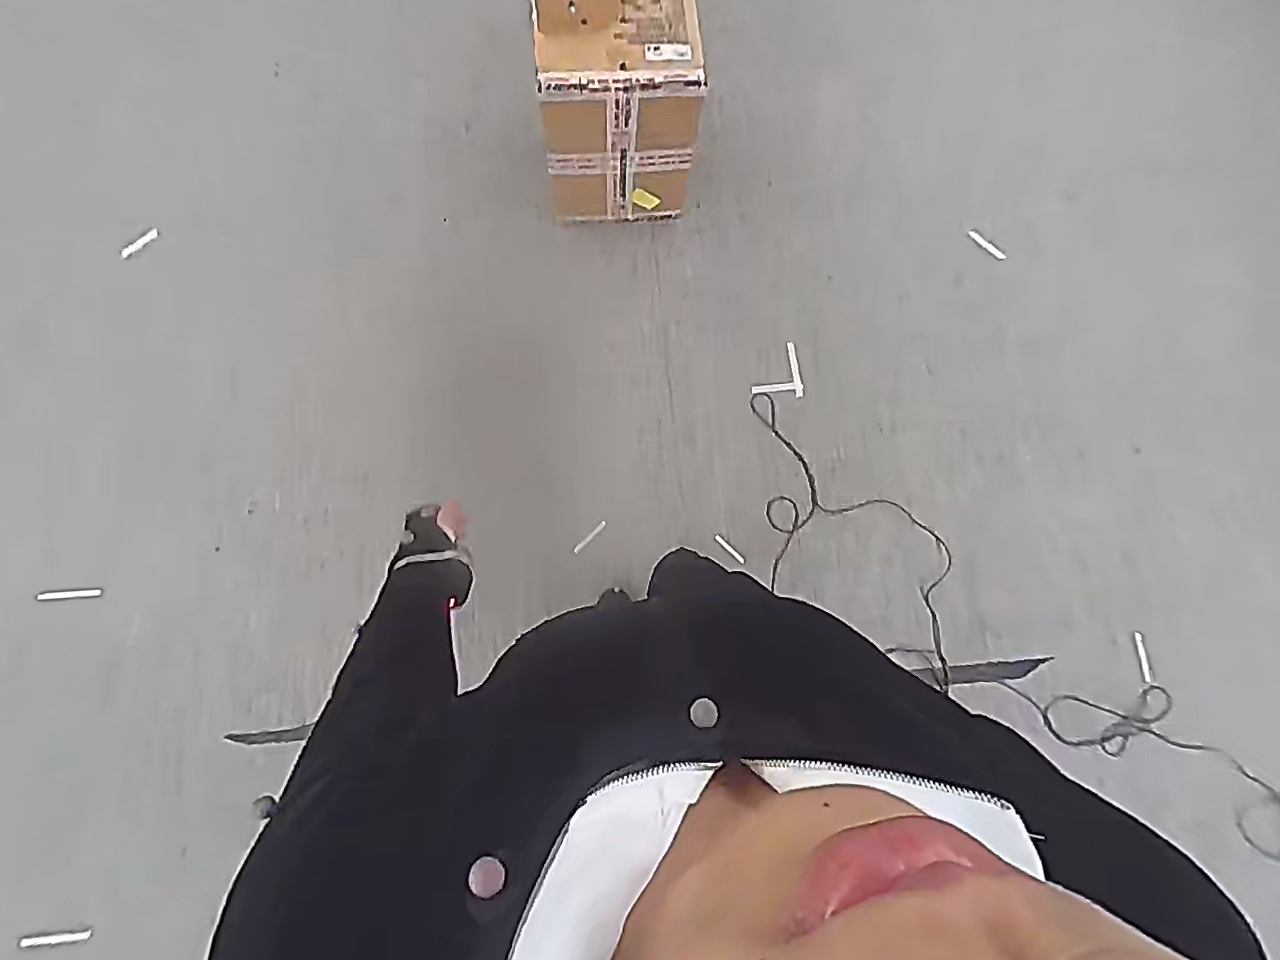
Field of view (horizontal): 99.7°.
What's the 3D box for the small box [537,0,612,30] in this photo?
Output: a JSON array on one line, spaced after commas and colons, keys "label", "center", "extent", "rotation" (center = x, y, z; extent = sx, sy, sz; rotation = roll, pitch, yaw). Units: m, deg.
[{"label": "small box", "center": [-0.151, -1.129, 1.170], "extent": [0.168, 0.176, 0.179], "rotation": [-6, 82, -2]}]
